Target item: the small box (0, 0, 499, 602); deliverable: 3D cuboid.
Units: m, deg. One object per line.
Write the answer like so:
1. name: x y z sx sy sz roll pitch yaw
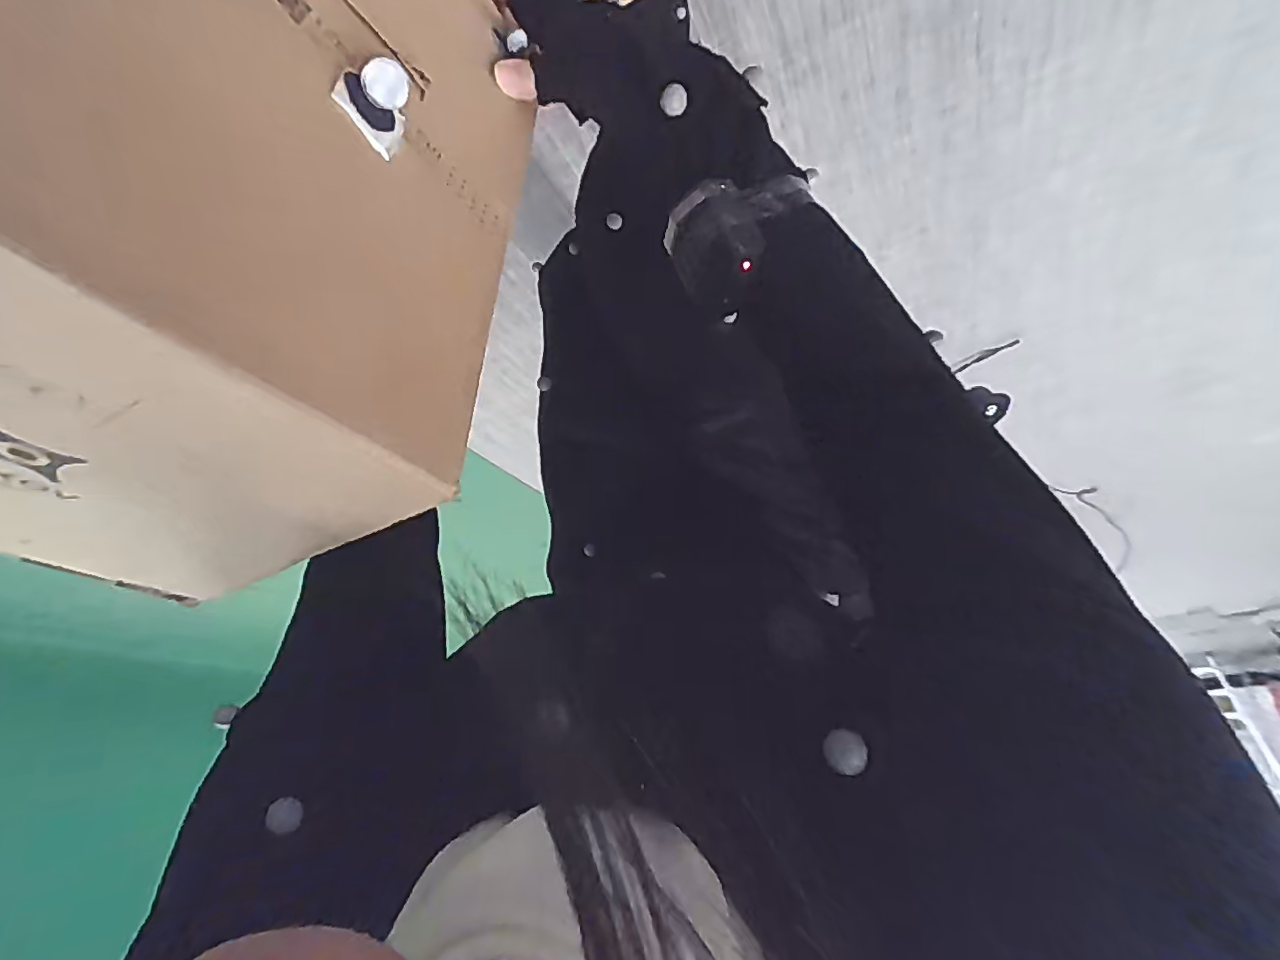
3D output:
1. small box: -0.173 -0.073 0.203 0.179 0.176 0.168 -20 144 27

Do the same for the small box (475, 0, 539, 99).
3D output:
1. small box: -0.185 -0.348 0.383 0.168 0.176 0.179 -21 146 29

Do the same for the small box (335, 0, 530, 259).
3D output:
1. small box: -0.176 -0.204 0.297 0.179 0.176 0.168 -17 144 27
